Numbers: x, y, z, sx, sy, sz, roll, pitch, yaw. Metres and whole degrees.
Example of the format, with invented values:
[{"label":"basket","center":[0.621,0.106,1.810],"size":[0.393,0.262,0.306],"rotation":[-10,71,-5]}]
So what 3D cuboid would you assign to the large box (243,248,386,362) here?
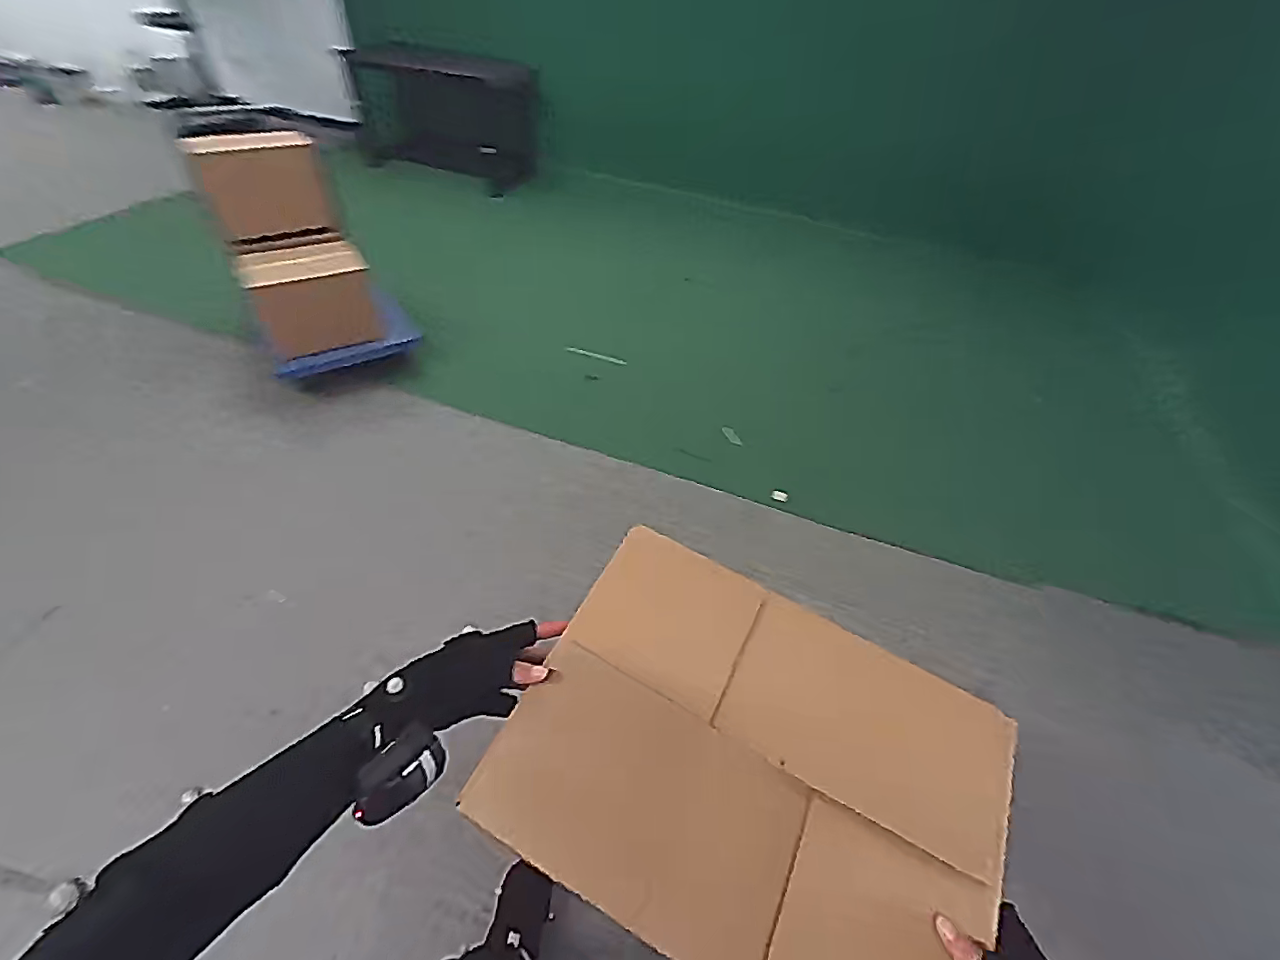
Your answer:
[{"label":"large box","center":[-1.325,-0.725,2.221],"size":[0.408,0.320,0.320],"rotation":[-22,49,-27]}]
